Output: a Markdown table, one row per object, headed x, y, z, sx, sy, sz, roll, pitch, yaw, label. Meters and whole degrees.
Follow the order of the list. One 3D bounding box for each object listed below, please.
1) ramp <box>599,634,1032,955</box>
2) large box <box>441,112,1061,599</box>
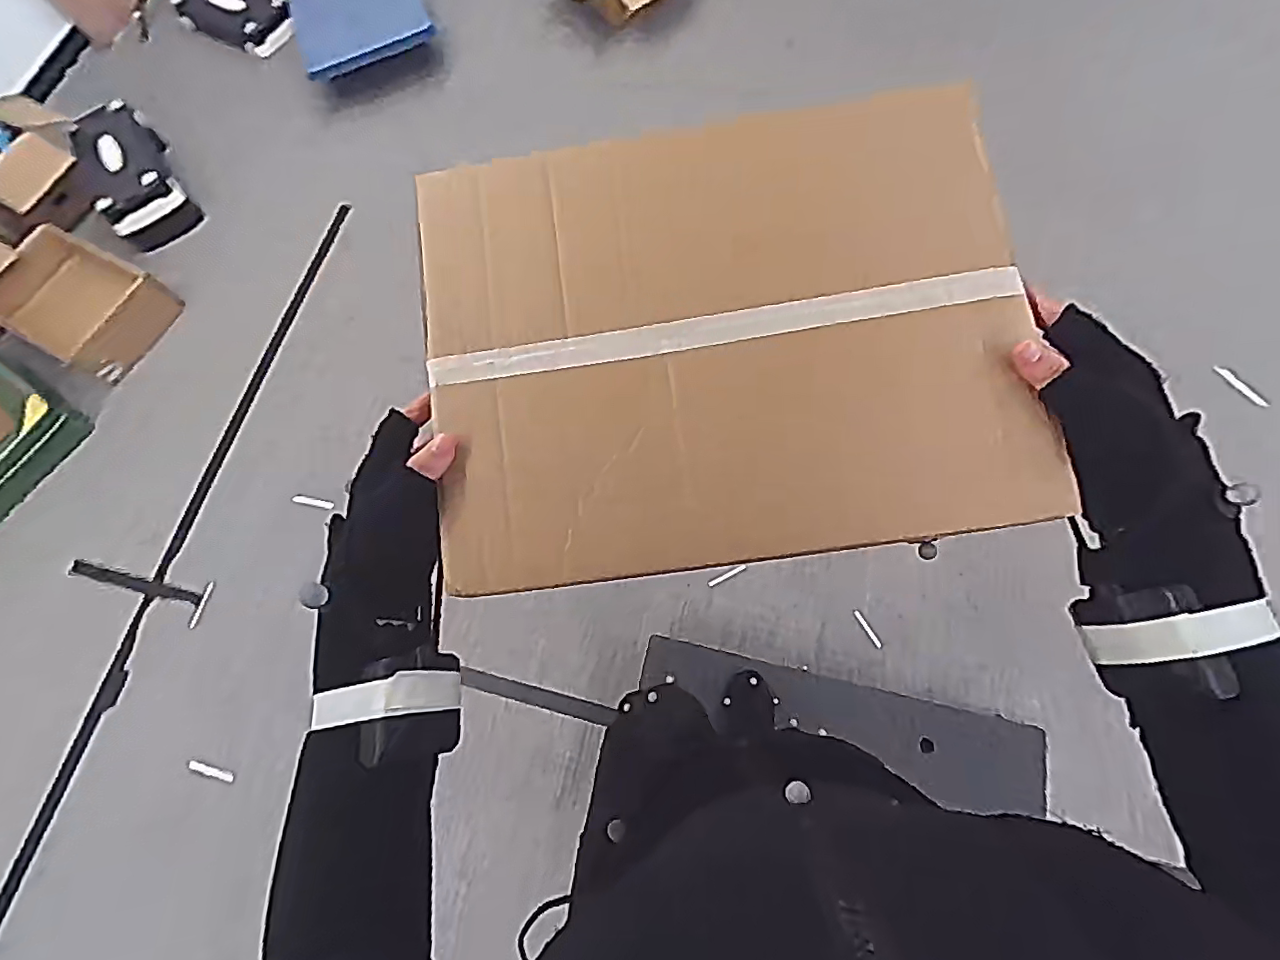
| x | y | z | sx | sy | sz | roll | pitch | yaw | label |
| --- | --- | --- | --- | --- | --- | --- | --- | --- | --- |
| 0.441 | 0.720 | 1.279 | 0.991 | 0.206 | 0.509 | 9 | 70 | 9 | ramp |
| 0.073 | -0.074 | 0.529 | 0.408 | 0.320 | 0.320 | -7 | 80 | 3 | large box |
